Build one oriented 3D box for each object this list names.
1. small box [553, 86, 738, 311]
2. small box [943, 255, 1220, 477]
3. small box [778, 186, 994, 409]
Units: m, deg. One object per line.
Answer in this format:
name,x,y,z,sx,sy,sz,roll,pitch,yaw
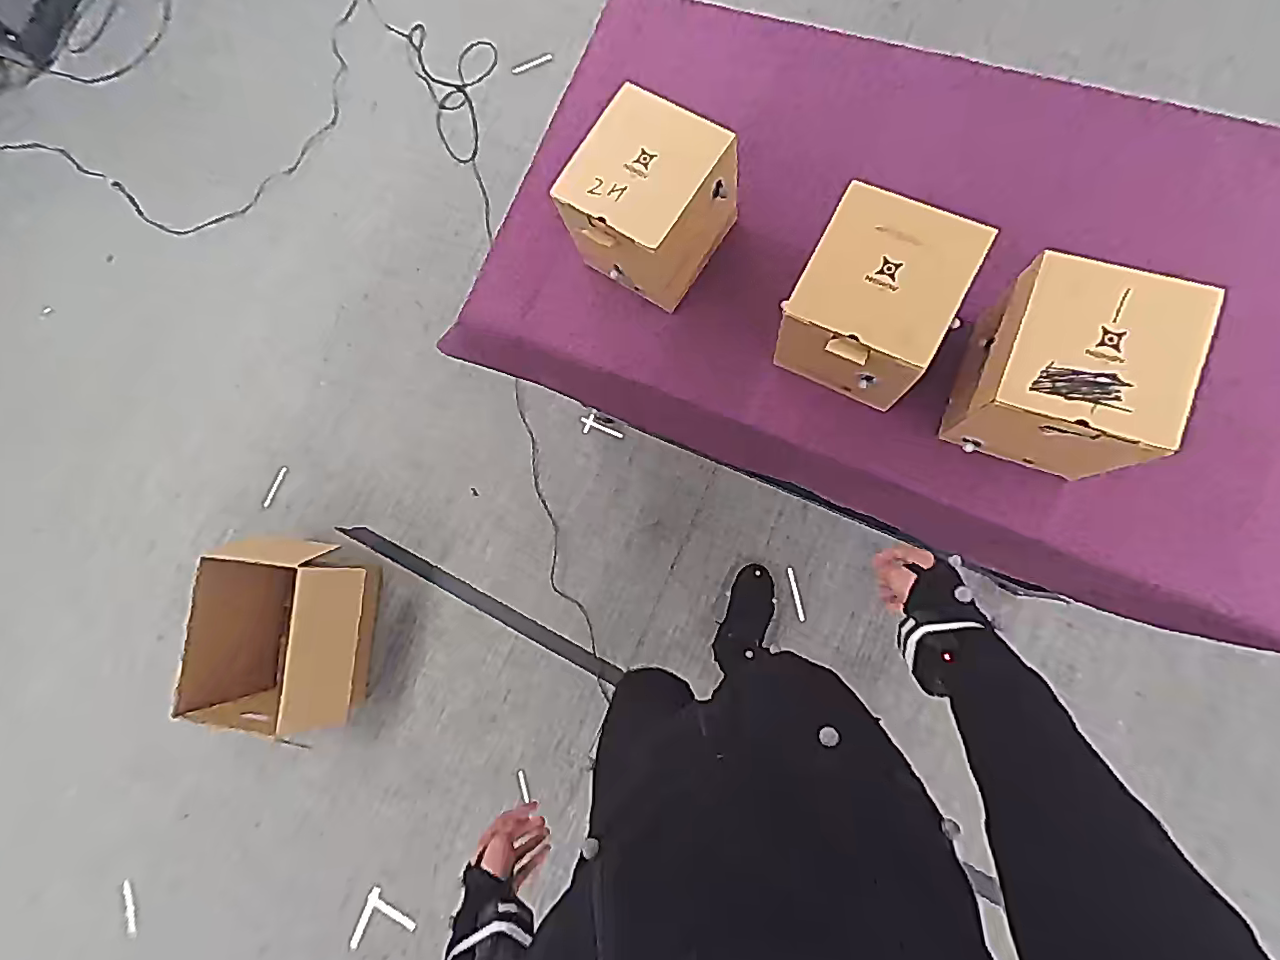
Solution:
small box,0.015,-0.368,0.735,0.168,0.176,0.179,35,90,13
small box,0.476,-0.116,0.616,0.168,0.176,0.179,20,85,12
small box,0.282,-0.209,0.666,0.168,0.176,0.179,28,87,12
